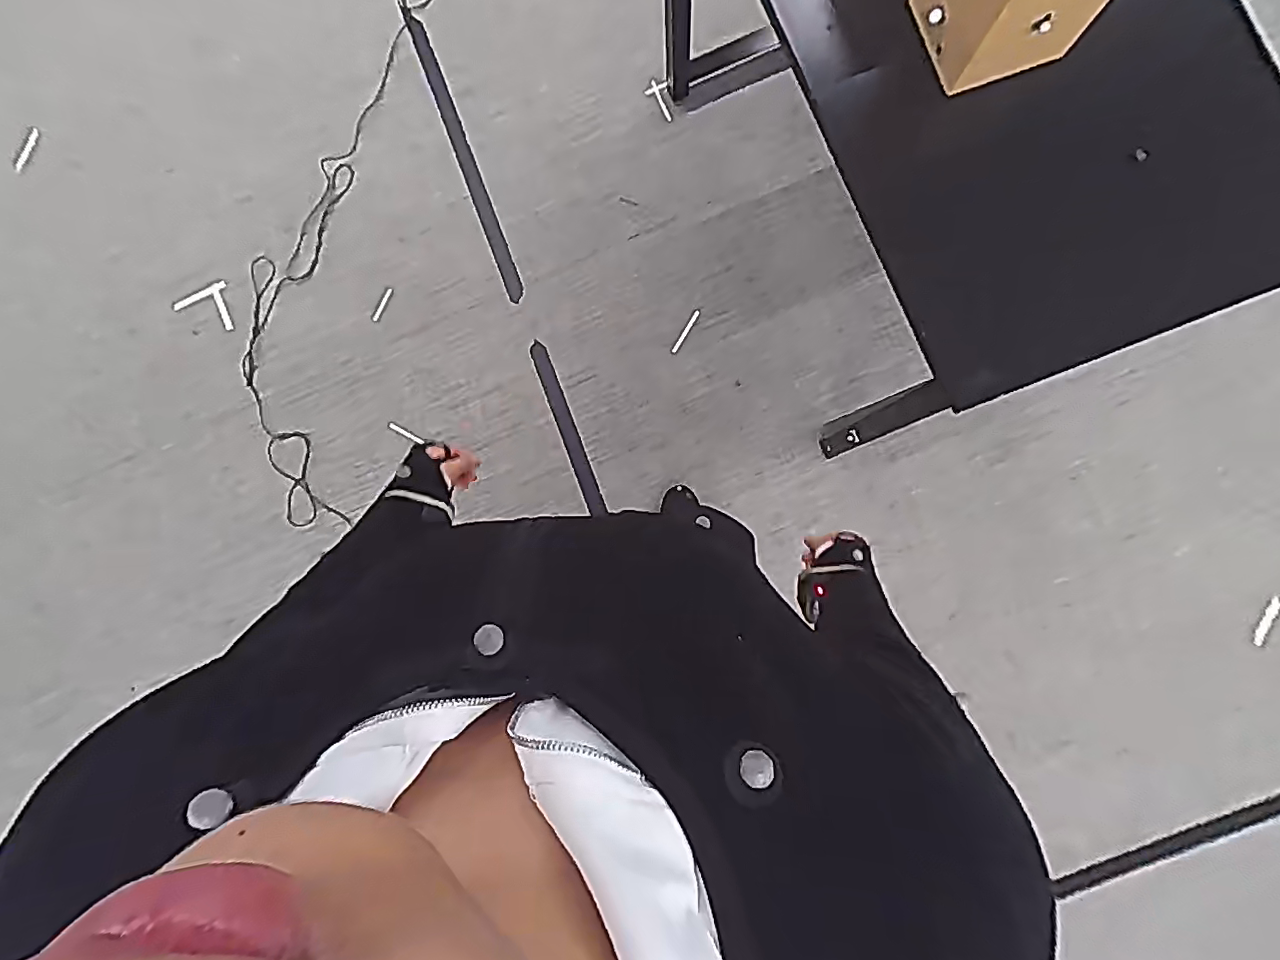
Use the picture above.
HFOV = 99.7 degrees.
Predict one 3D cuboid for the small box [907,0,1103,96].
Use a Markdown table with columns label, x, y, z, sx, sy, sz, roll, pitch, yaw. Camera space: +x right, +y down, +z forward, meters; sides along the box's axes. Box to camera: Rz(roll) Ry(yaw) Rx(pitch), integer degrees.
| label | x | y | z | sx | sy | sz | roll | pitch | yaw |
| --- | --- | --- | --- | --- | --- | --- | --- | --- | --- |
| small box | 0.498 | -0.670 | 0.724 | 0.179 | 0.176 | 0.168 | -18 | 85 | 2 |
